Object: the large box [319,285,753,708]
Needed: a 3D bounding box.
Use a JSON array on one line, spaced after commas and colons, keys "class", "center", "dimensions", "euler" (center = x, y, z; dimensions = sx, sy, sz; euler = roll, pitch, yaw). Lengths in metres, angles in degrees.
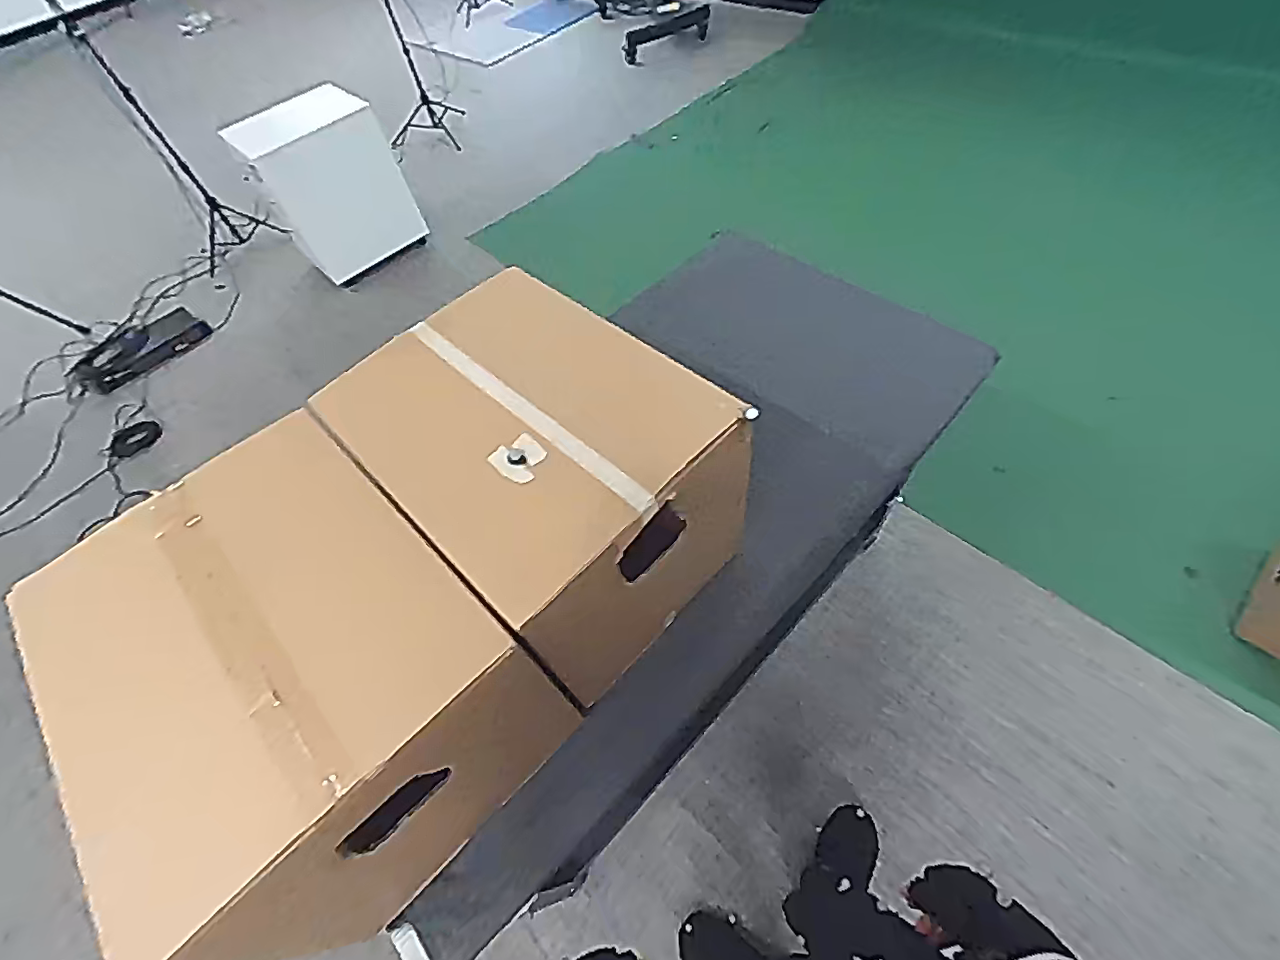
[{"class": "large box", "center": [-0.115, 0.016, 0.713], "dimensions": [0.408, 0.320, 0.320], "euler": [37, 68, 27]}]
